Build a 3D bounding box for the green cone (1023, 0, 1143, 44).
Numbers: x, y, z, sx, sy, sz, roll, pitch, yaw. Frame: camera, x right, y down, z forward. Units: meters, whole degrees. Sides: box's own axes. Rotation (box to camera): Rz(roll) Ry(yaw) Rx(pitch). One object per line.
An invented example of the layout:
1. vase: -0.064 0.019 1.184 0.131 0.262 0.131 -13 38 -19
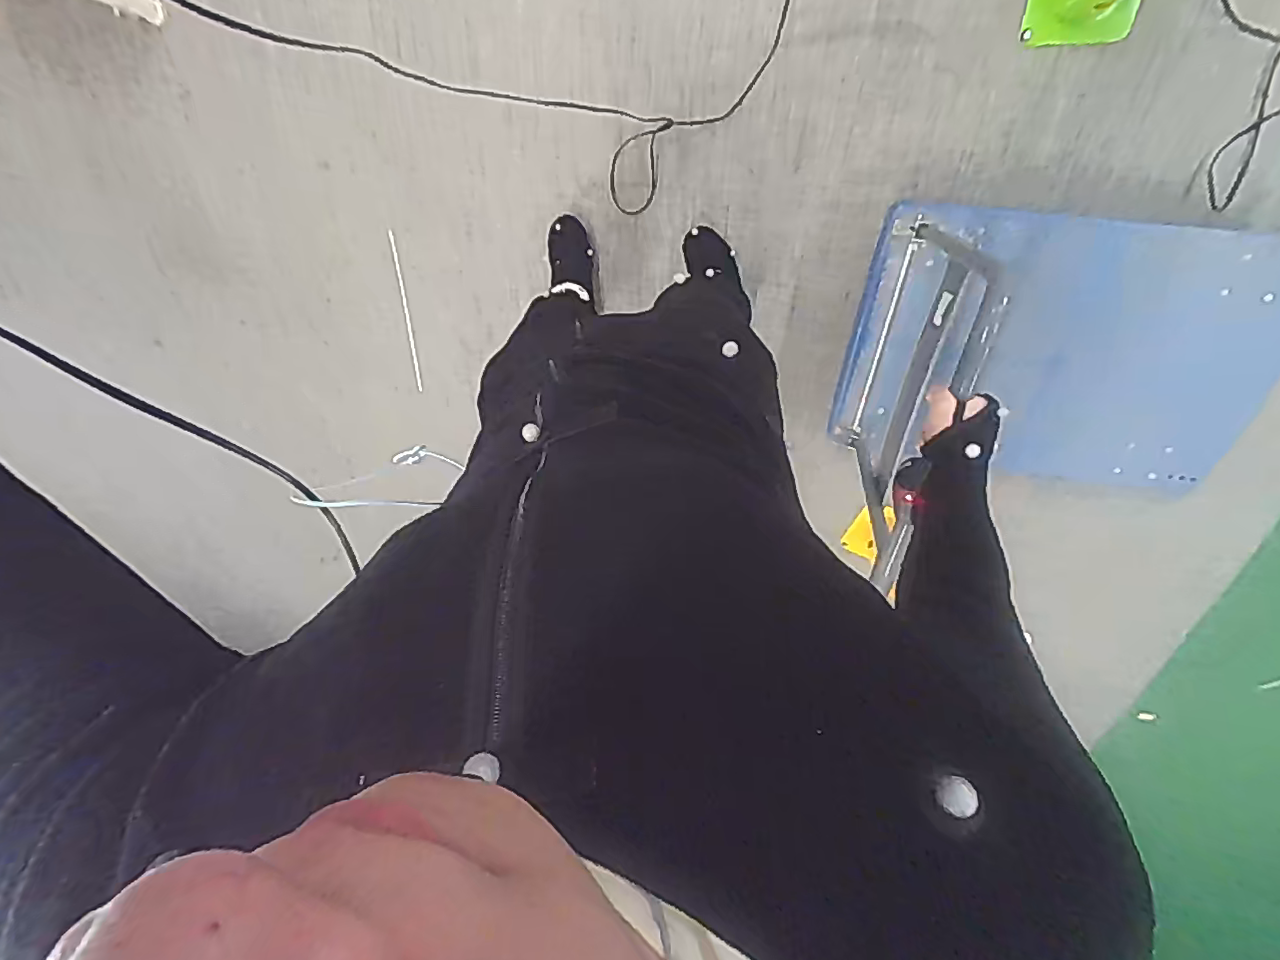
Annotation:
1. green cone: 0.824 -0.870 0.869 0.200 0.368 0.202 4 119 9
